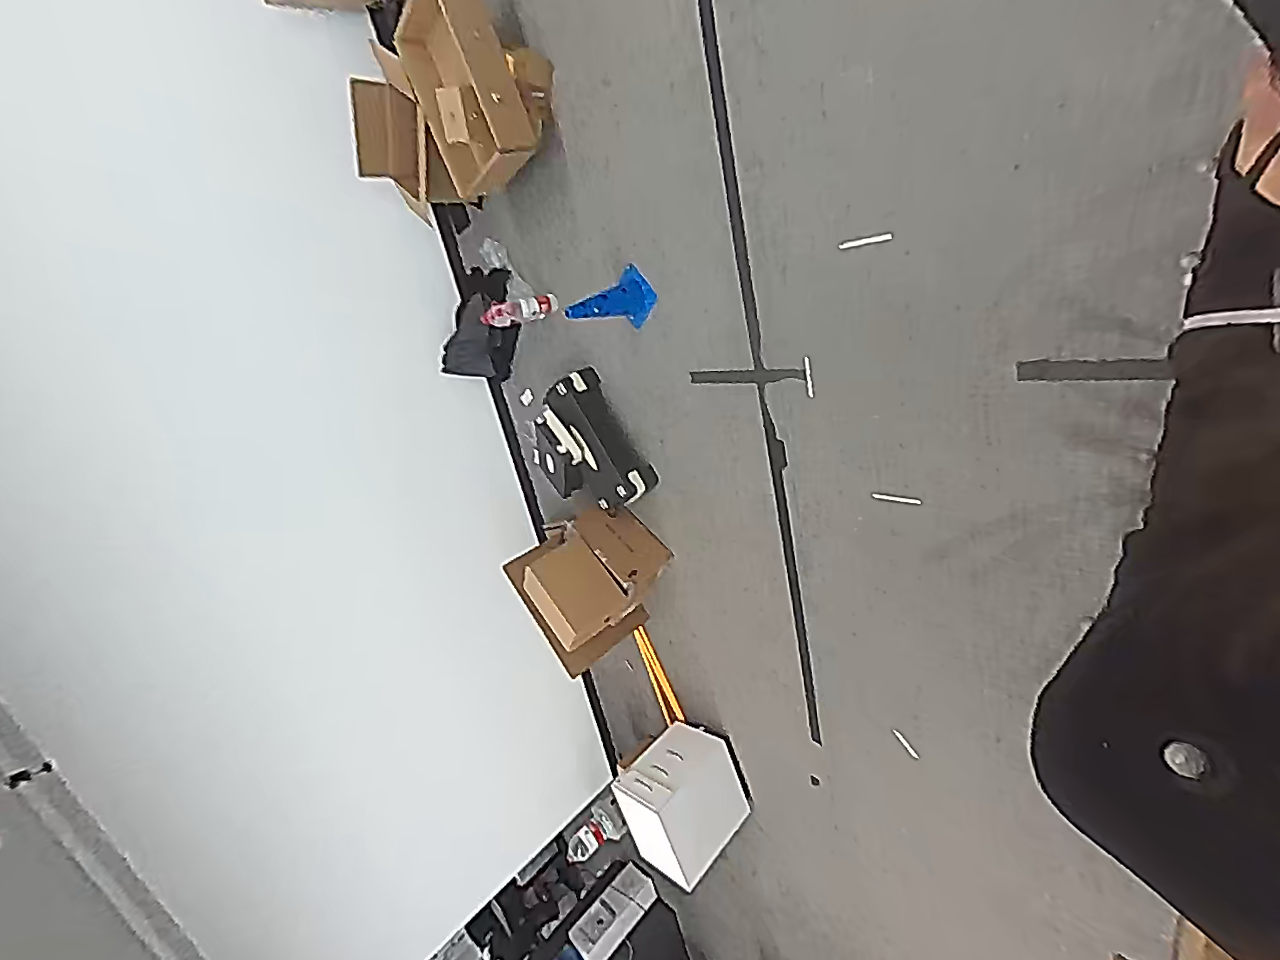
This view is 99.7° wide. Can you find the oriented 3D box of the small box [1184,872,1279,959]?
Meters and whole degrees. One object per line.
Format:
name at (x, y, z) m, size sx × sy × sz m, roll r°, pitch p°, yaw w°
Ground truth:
small box at (0.901, 0.721, 0.765) m, size 0.168 × 0.176 × 0.179 m, roll 15°, pitch 124°, yaw 43°
